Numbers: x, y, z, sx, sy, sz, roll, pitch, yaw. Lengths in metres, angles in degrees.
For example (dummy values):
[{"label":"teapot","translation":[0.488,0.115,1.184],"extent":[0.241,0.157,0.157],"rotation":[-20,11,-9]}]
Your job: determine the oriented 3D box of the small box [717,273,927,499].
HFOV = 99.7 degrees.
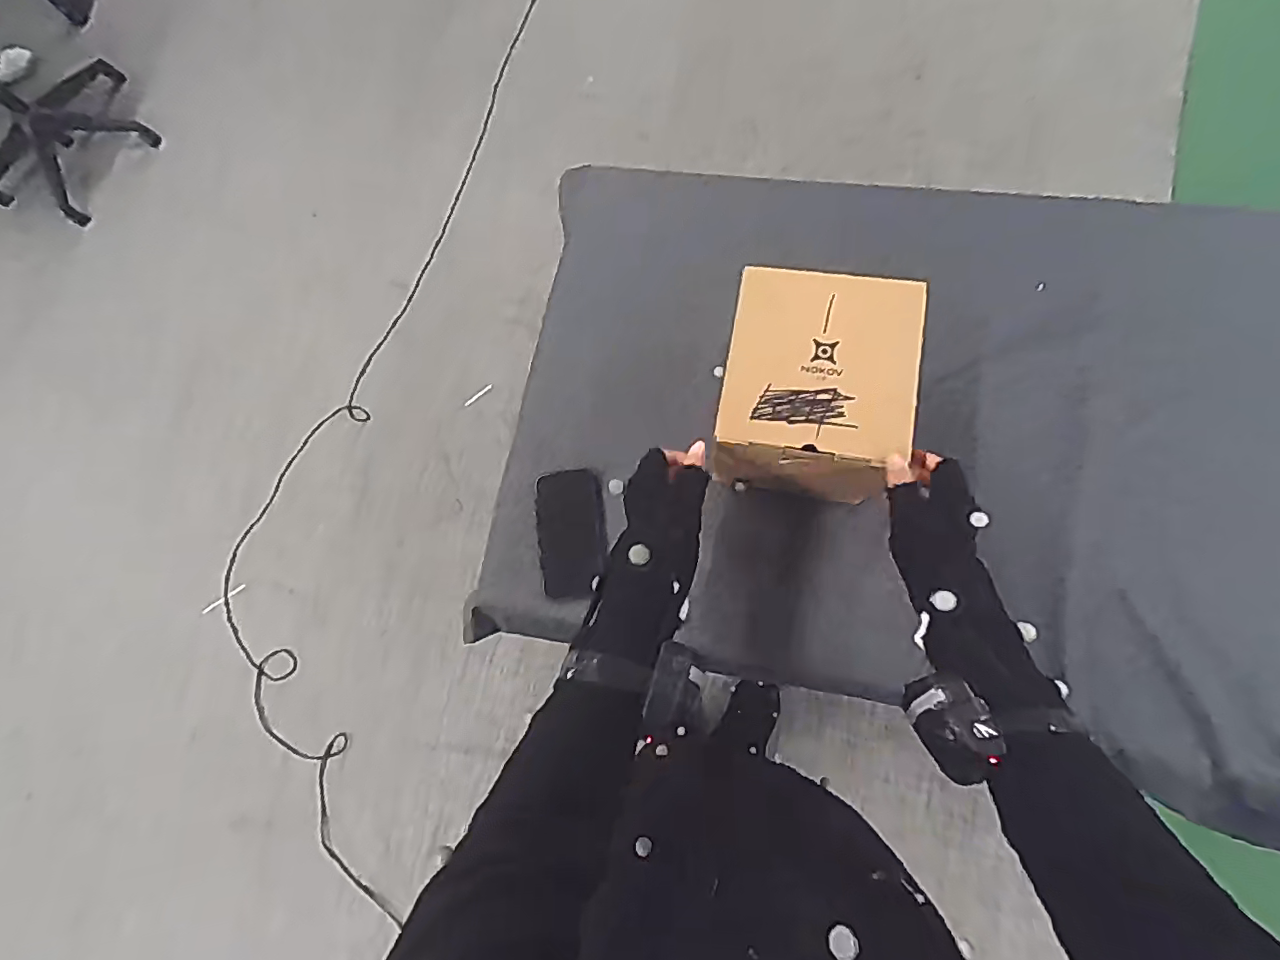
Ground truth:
[{"label":"small box","translation":[0.177,-0.086,0.567],"extent":[0.168,0.176,0.179],"rotation":[9,77,9]}]
